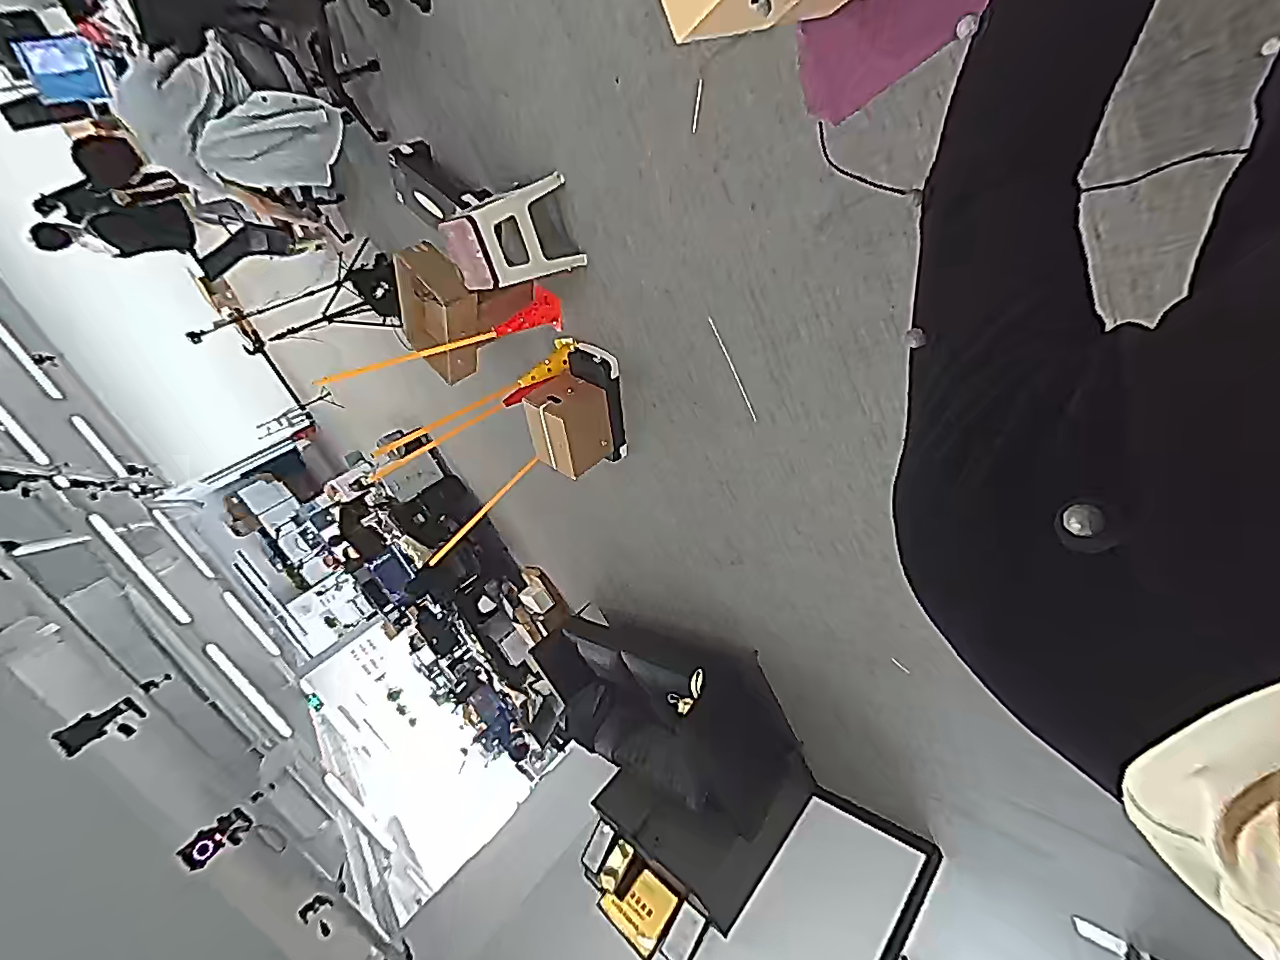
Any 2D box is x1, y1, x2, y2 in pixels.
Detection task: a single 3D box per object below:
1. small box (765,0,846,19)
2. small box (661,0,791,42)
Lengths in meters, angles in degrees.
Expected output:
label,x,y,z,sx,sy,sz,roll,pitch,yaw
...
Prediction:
label,x,y,z,sx,sy,sz,roll,pitch,yaw
small box,0.213,-0.667,0.602,0.168,0.176,0.179,-3,120,55
small box,0.107,-0.576,0.519,0.168,0.176,0.179,-1,120,55
